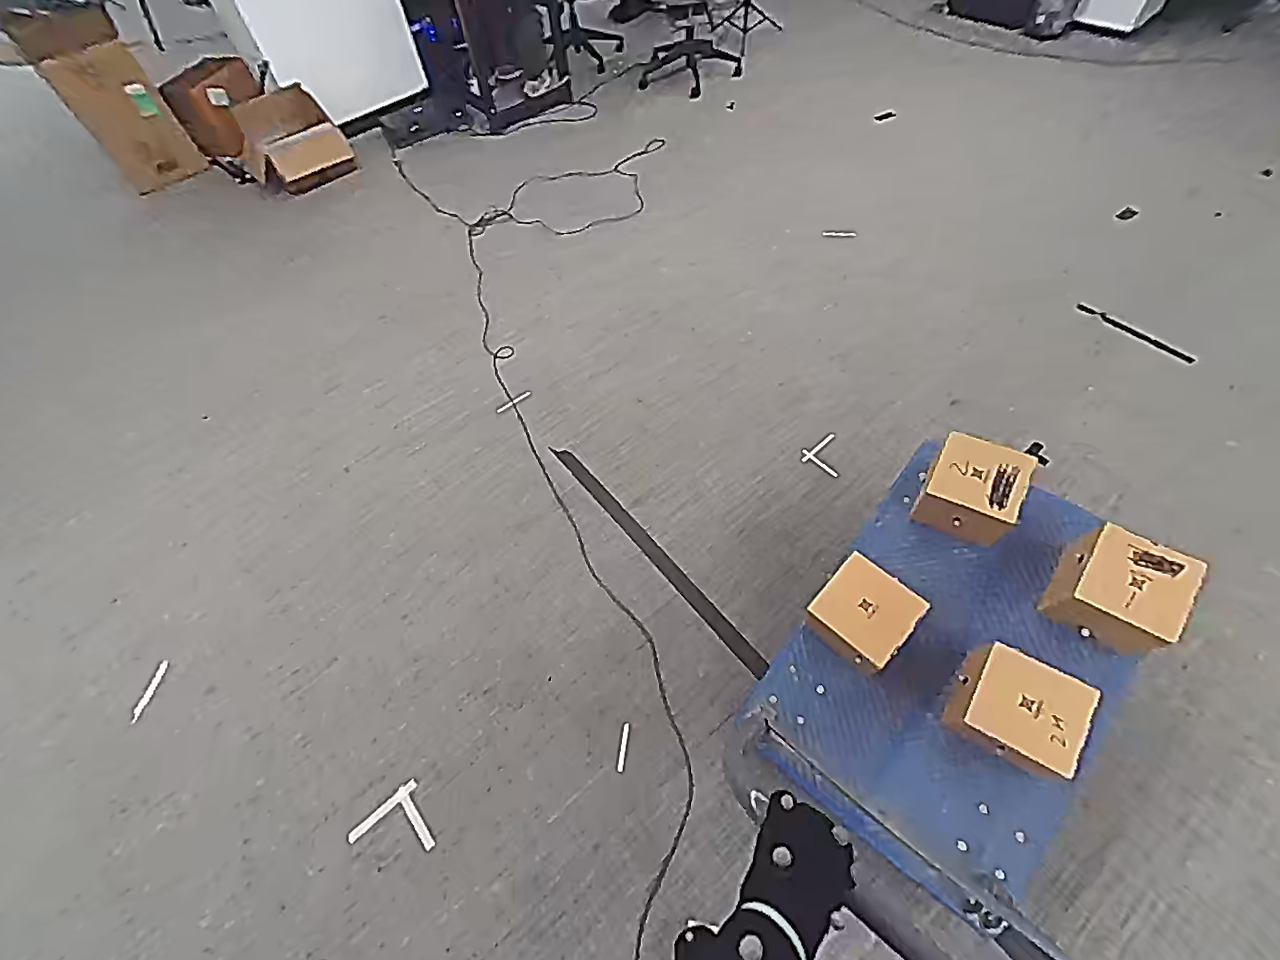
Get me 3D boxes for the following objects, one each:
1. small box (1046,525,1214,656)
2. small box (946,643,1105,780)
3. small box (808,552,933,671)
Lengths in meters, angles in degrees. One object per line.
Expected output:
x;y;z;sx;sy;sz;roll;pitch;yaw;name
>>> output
0.950;0.222;1.067;0.168;0.176;0.179;30;77;24;small box
0.715;0.437;1.025;0.179;0.176;0.168;27;75;24;small box
0.479;0.287;1.155;0.179;0.176;0.168;40;79;25;small box
